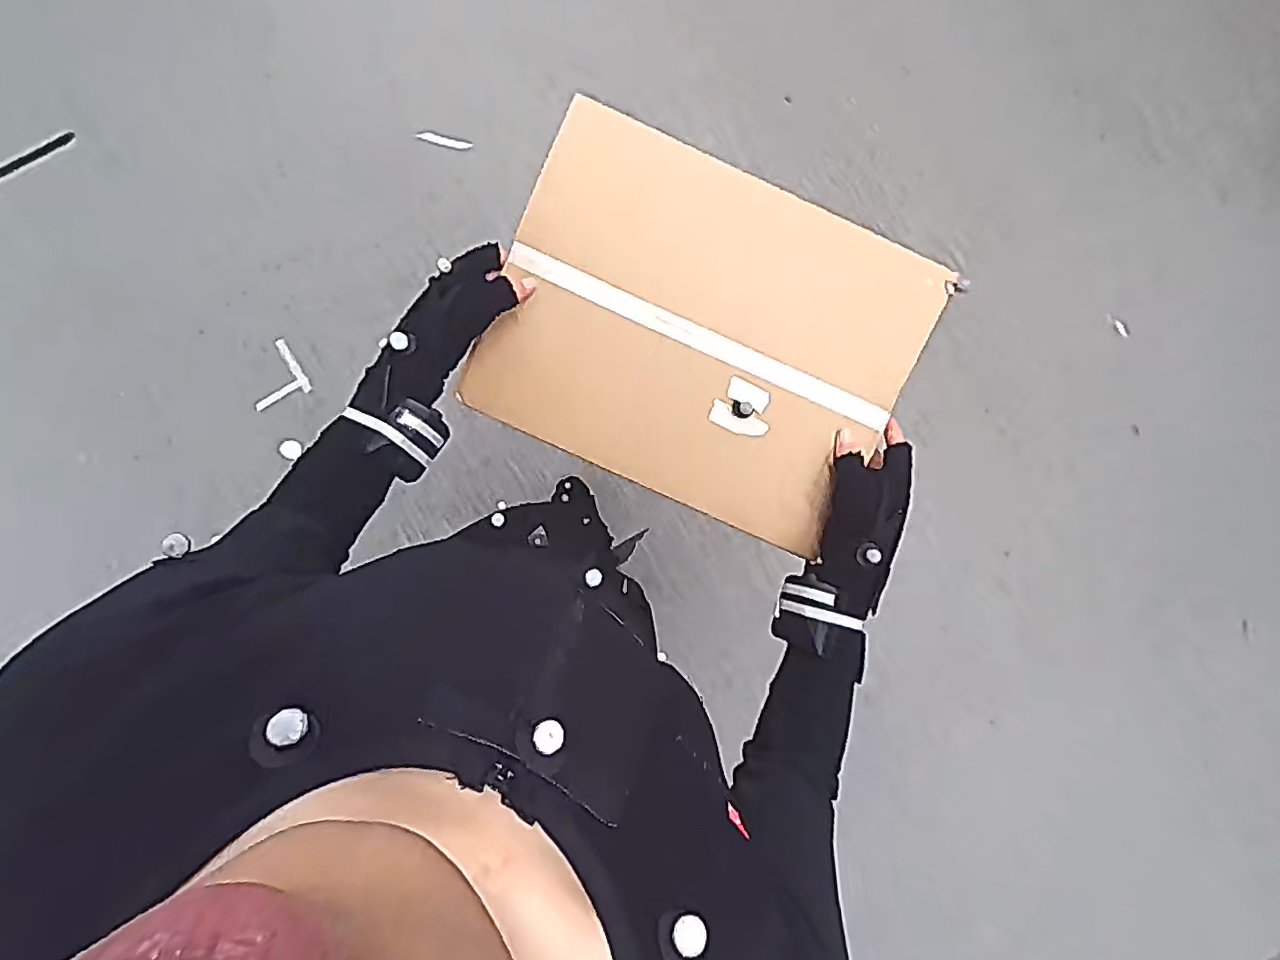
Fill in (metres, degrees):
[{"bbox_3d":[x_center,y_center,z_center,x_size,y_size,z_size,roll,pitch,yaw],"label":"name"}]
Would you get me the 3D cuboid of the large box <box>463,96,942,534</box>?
[{"bbox_3d":[0.057,-0.172,0.684,0.408,0.320,0.320,23,97,-3],"label":"large box"}]
